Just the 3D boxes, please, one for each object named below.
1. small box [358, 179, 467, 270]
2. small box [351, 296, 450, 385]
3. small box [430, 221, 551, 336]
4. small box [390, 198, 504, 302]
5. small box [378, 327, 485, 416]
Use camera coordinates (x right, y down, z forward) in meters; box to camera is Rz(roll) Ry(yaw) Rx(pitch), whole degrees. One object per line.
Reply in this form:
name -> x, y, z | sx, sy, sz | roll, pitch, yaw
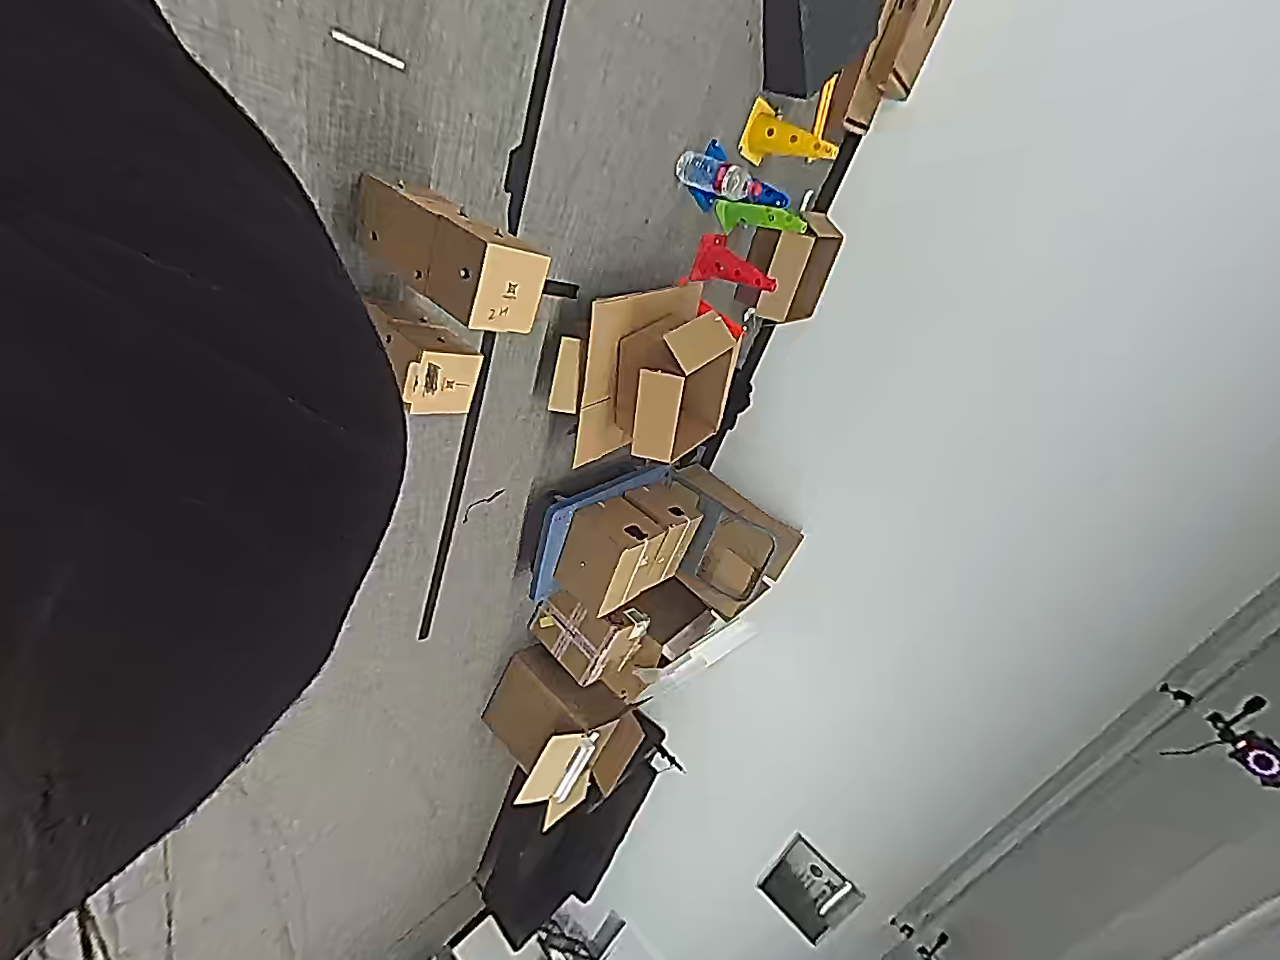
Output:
small box -> -0.554, -0.605, 1.307 | 0.179, 0.176, 0.168 | -18, 137, -51
small box -> -0.644, -0.363, 1.443 | 0.168, 0.176, 0.179 | -9, 130, -54
small box -> -0.323, -0.428, 1.156 | 0.168, 0.176, 0.179 | -14, 135, -51
small box -> -0.443, -0.515, 1.229 | 0.168, 0.176, 0.179 | -15, 135, -51
small box -> -0.530, -0.273, 1.365 | 0.179, 0.176, 0.168 | -12, 132, -54
